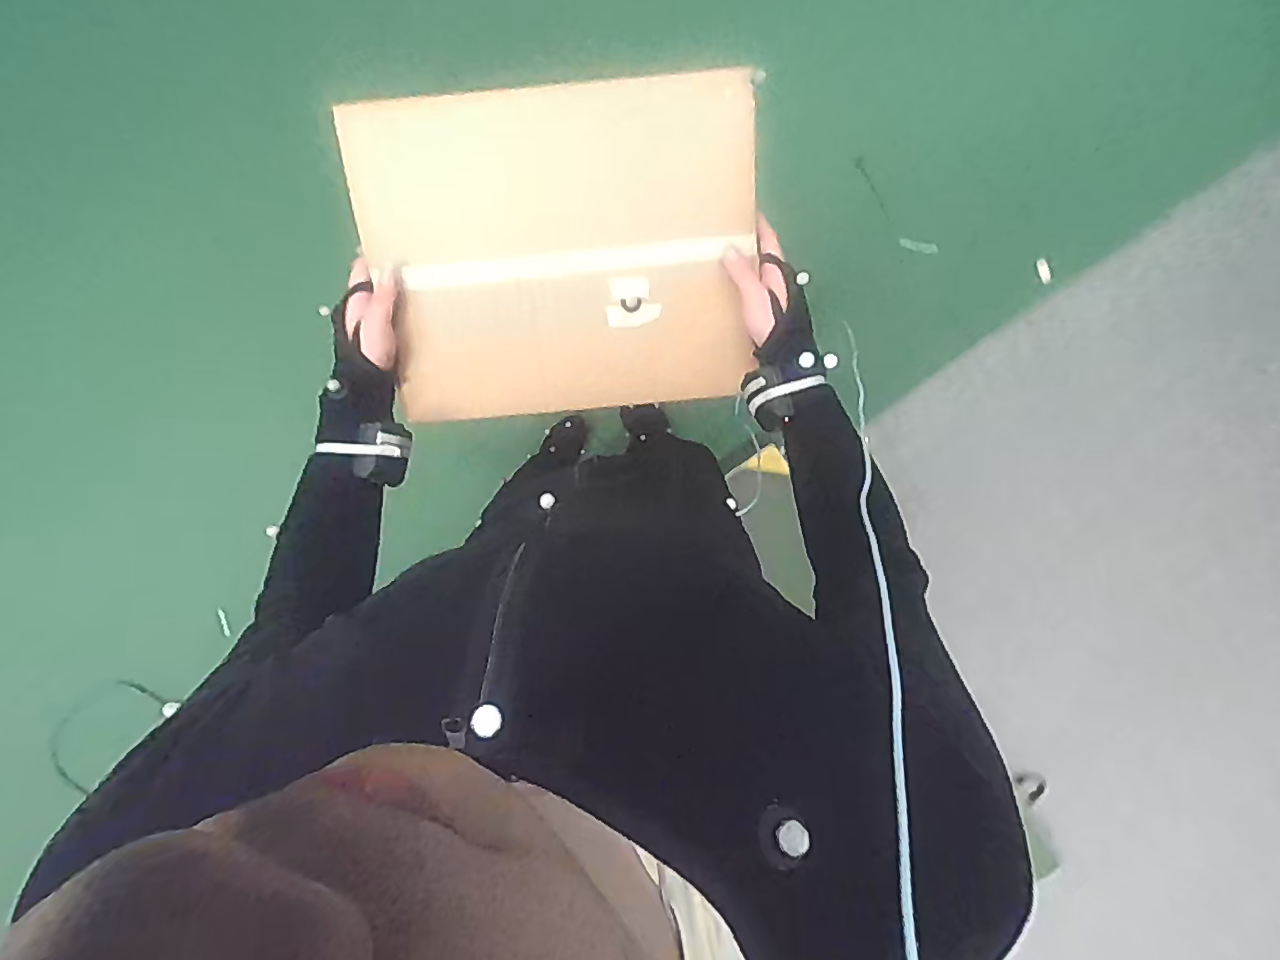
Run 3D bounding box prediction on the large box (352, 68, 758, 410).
[{"bbox_3d":[-0.080,-0.288,0.713,0.408,0.320,0.320,-4,110,-1],"label":"large box"}]
